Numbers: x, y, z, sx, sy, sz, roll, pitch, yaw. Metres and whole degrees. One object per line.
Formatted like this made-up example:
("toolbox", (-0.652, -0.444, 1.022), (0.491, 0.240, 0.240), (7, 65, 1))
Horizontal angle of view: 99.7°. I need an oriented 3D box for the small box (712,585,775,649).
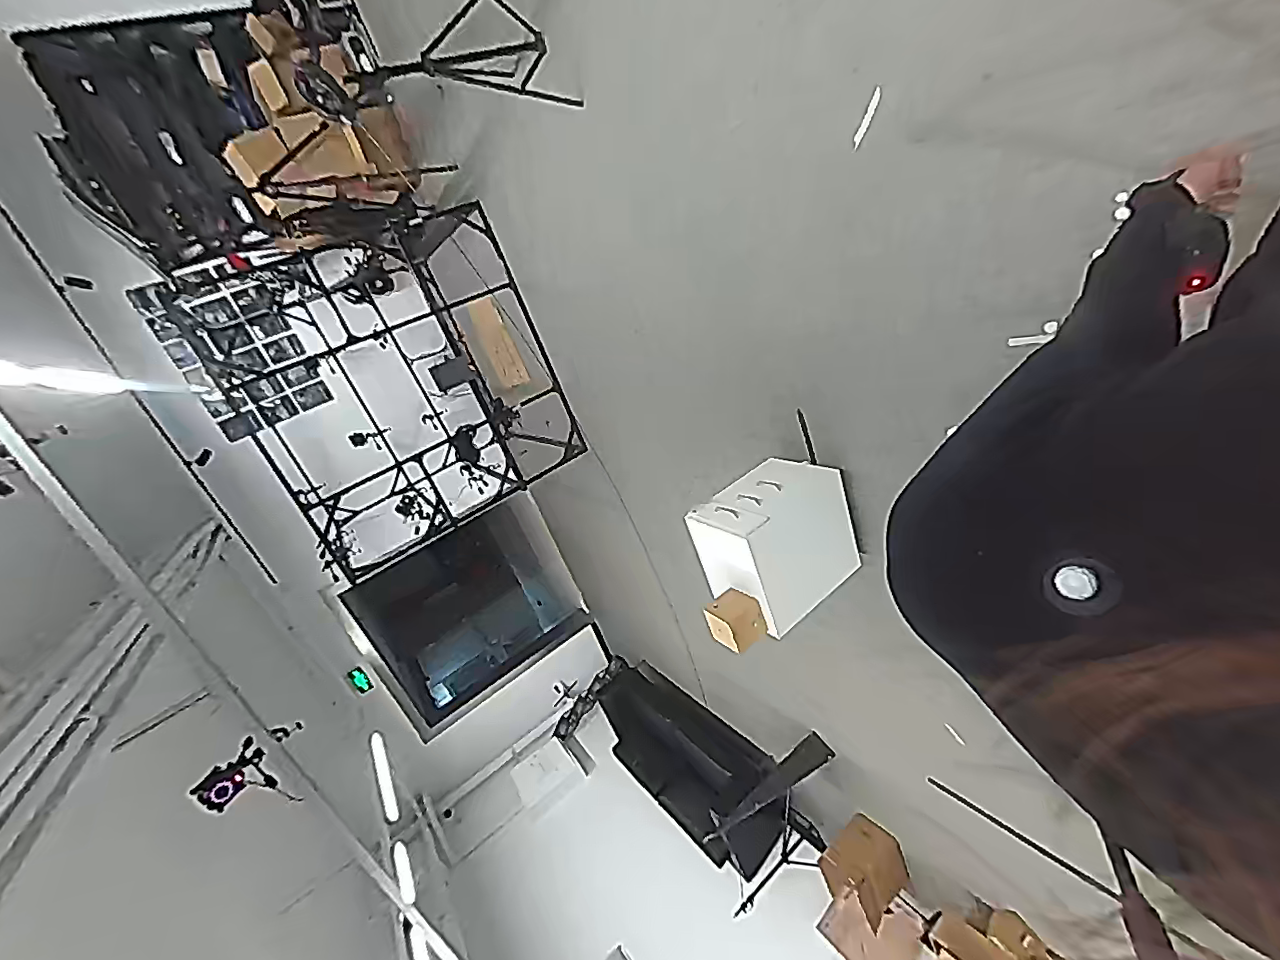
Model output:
("small box", (0.436, 0.567, 2.271), (0.179, 0.176, 0.168), (17, 134, 58))
